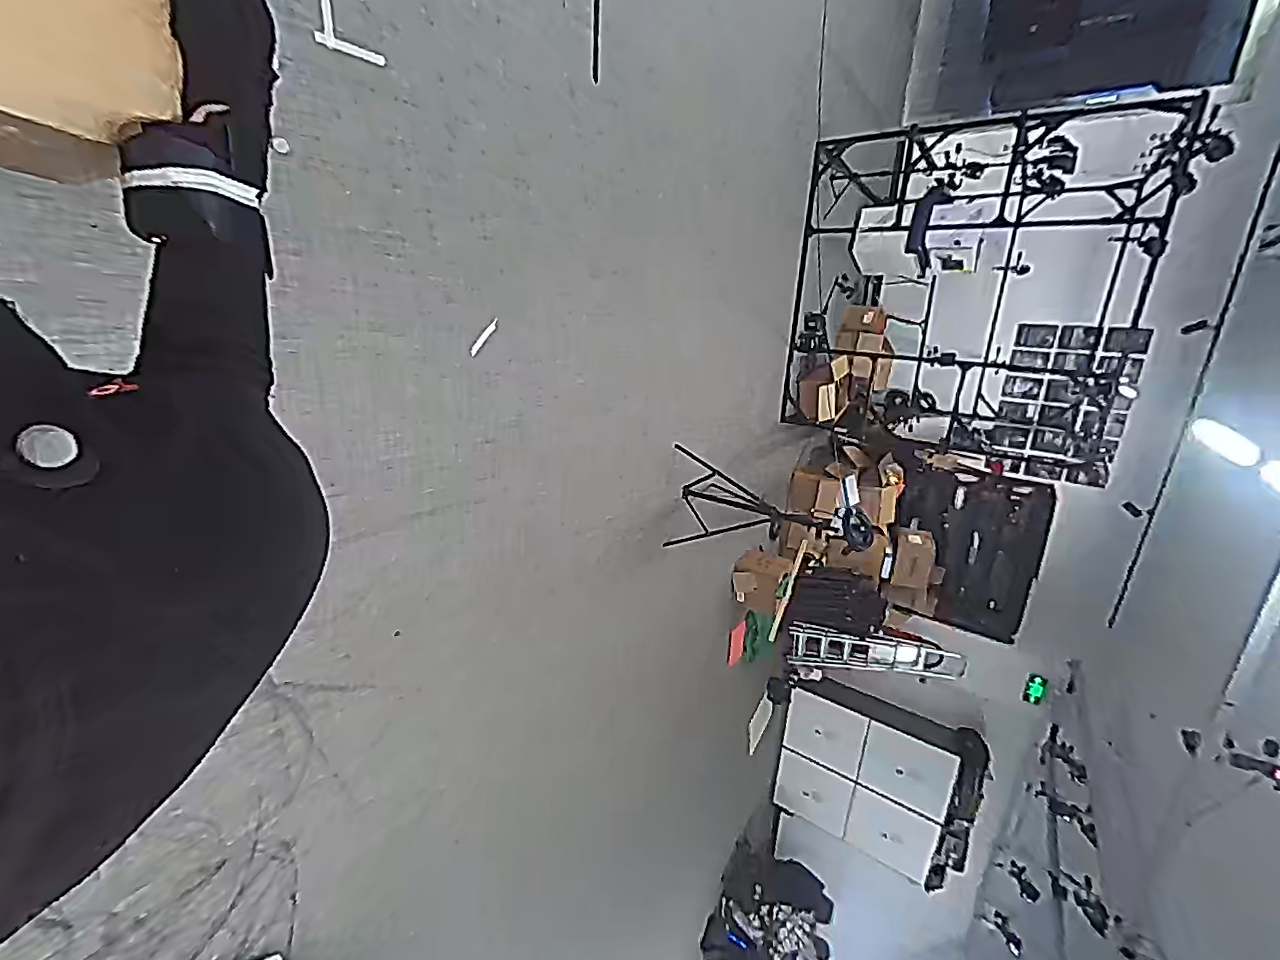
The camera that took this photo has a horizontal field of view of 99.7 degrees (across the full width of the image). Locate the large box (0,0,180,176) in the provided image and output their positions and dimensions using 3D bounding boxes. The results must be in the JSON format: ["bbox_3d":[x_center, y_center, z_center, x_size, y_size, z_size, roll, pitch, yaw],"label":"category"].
[{"bbox_3d":[-0.555,-0.406,0.290,0.408,0.320,0.320,-7,111,-56],"label":"large box"}]
